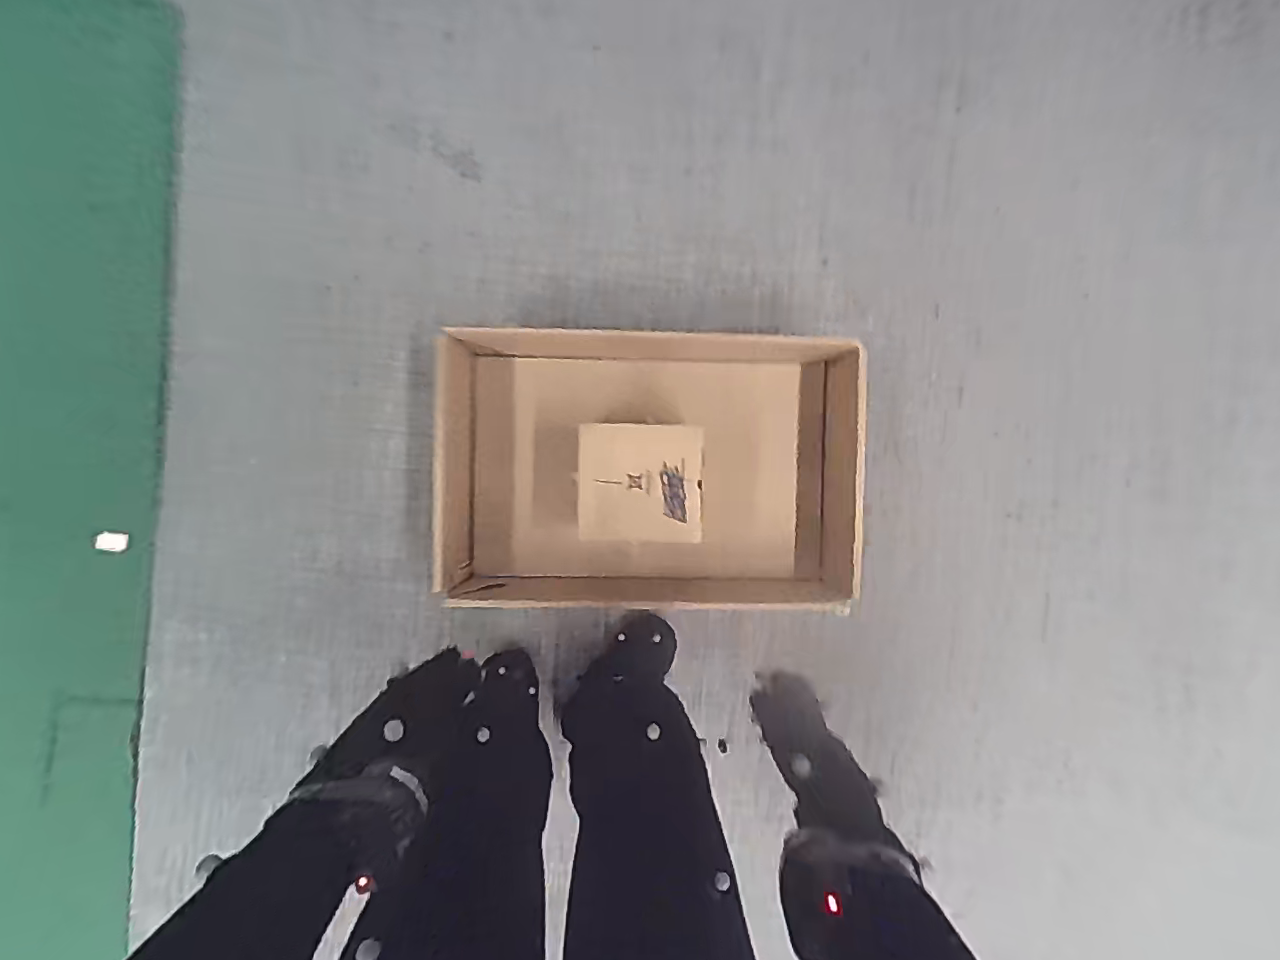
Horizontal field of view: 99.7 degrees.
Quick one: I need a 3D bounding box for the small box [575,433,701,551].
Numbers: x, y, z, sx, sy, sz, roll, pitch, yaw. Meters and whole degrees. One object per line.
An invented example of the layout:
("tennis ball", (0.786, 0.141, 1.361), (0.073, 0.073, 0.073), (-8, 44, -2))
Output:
("small box", (-0.005, 0.017, 0.854), (0.179, 0.176, 0.168), (2, 90, -1))
